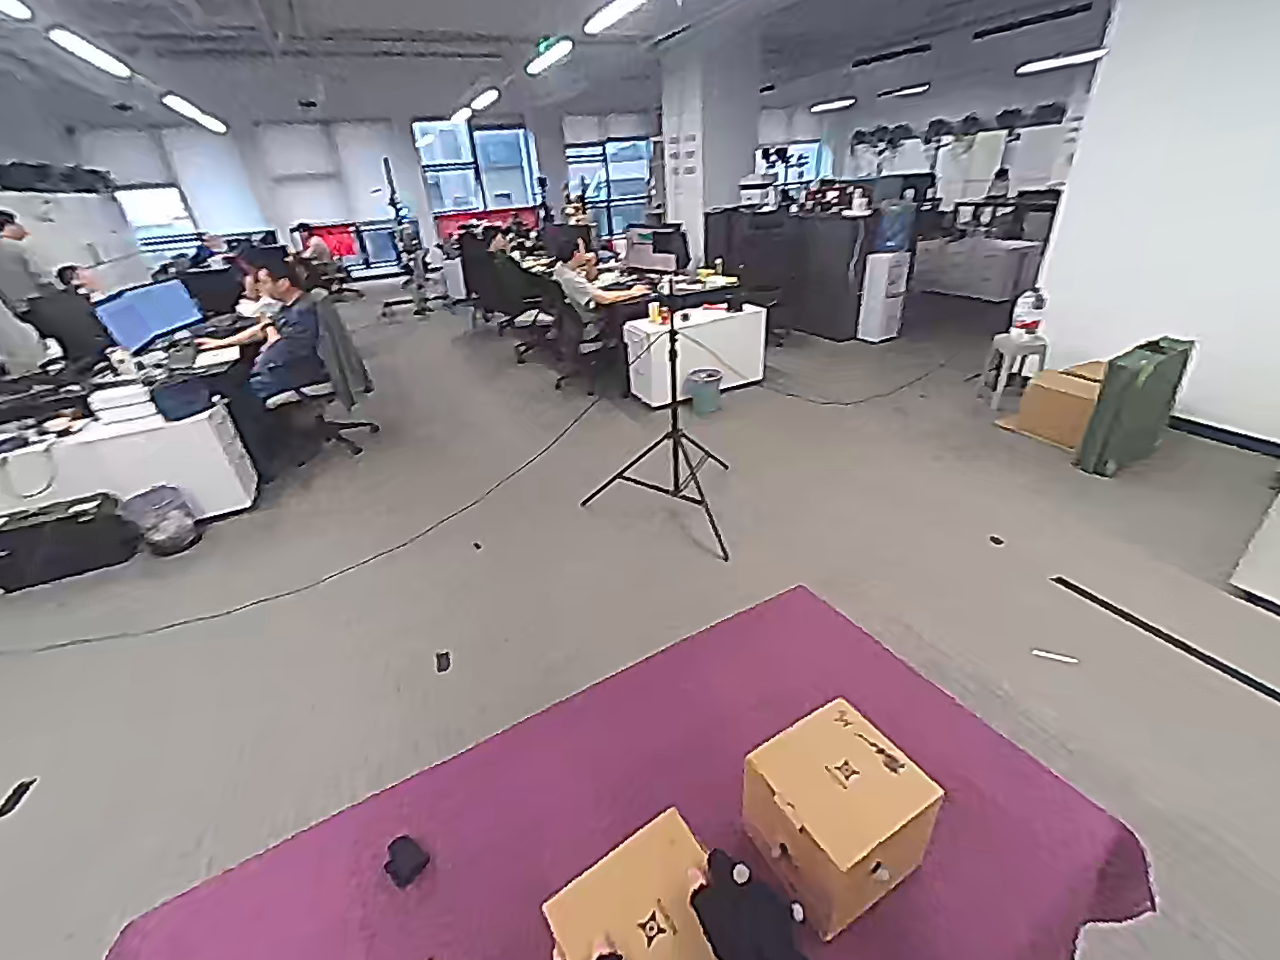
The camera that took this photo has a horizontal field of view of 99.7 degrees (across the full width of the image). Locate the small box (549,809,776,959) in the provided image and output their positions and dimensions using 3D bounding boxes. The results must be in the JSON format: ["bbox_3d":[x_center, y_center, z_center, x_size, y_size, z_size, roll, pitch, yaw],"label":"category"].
[{"bbox_3d":[0.021,0.519,0.593,0.179,0.176,0.168,-23,39,-28],"label":"small box"}]

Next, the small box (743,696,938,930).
[{"bbox_3d":[0.258,0.438,0.721,0.179,0.176,0.168,-19,32,-23],"label":"small box"}]
